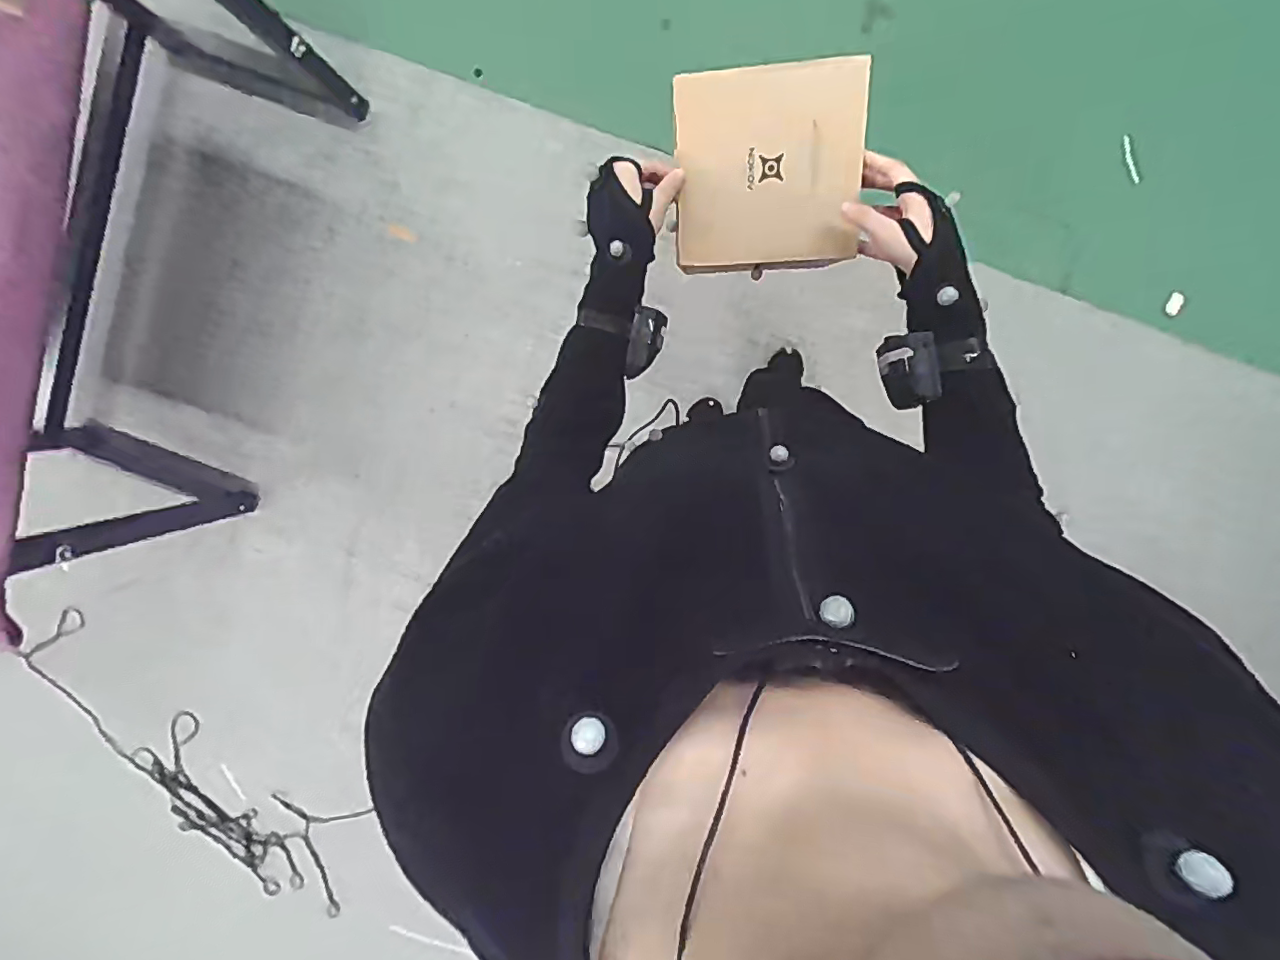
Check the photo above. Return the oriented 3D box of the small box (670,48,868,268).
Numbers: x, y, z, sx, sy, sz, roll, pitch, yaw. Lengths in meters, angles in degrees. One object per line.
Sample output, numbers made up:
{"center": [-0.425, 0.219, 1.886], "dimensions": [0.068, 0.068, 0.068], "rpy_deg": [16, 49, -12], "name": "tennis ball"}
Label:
{"center": [0.128, -0.324, 0.582], "dimensions": [0.179, 0.176, 0.168], "rpy_deg": [0, 108, 8], "name": "small box"}
